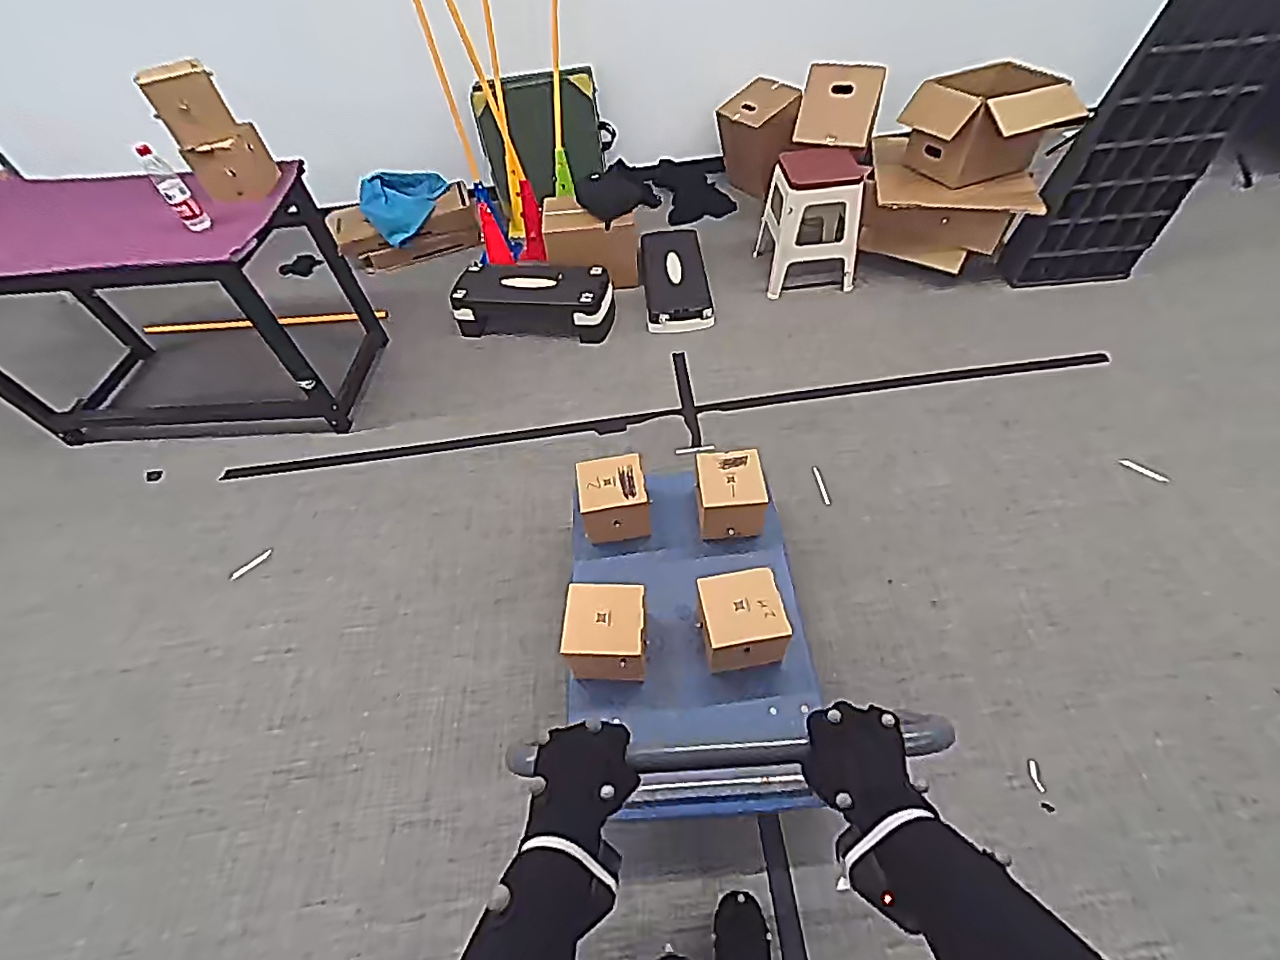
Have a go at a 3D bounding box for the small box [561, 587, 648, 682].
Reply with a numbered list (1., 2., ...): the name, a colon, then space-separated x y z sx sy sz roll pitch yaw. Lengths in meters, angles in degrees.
1. small box: -0.076 0.362 1.260 0.179 0.176 0.168 0 52 4

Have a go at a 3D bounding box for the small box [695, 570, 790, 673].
1. small box: 0.230 0.333 1.253 0.179 0.176 0.168 -9 53 -2

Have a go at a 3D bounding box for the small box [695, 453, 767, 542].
1. small box: 0.239 0.049 1.468 0.168 0.176 0.179 -5 54 2
